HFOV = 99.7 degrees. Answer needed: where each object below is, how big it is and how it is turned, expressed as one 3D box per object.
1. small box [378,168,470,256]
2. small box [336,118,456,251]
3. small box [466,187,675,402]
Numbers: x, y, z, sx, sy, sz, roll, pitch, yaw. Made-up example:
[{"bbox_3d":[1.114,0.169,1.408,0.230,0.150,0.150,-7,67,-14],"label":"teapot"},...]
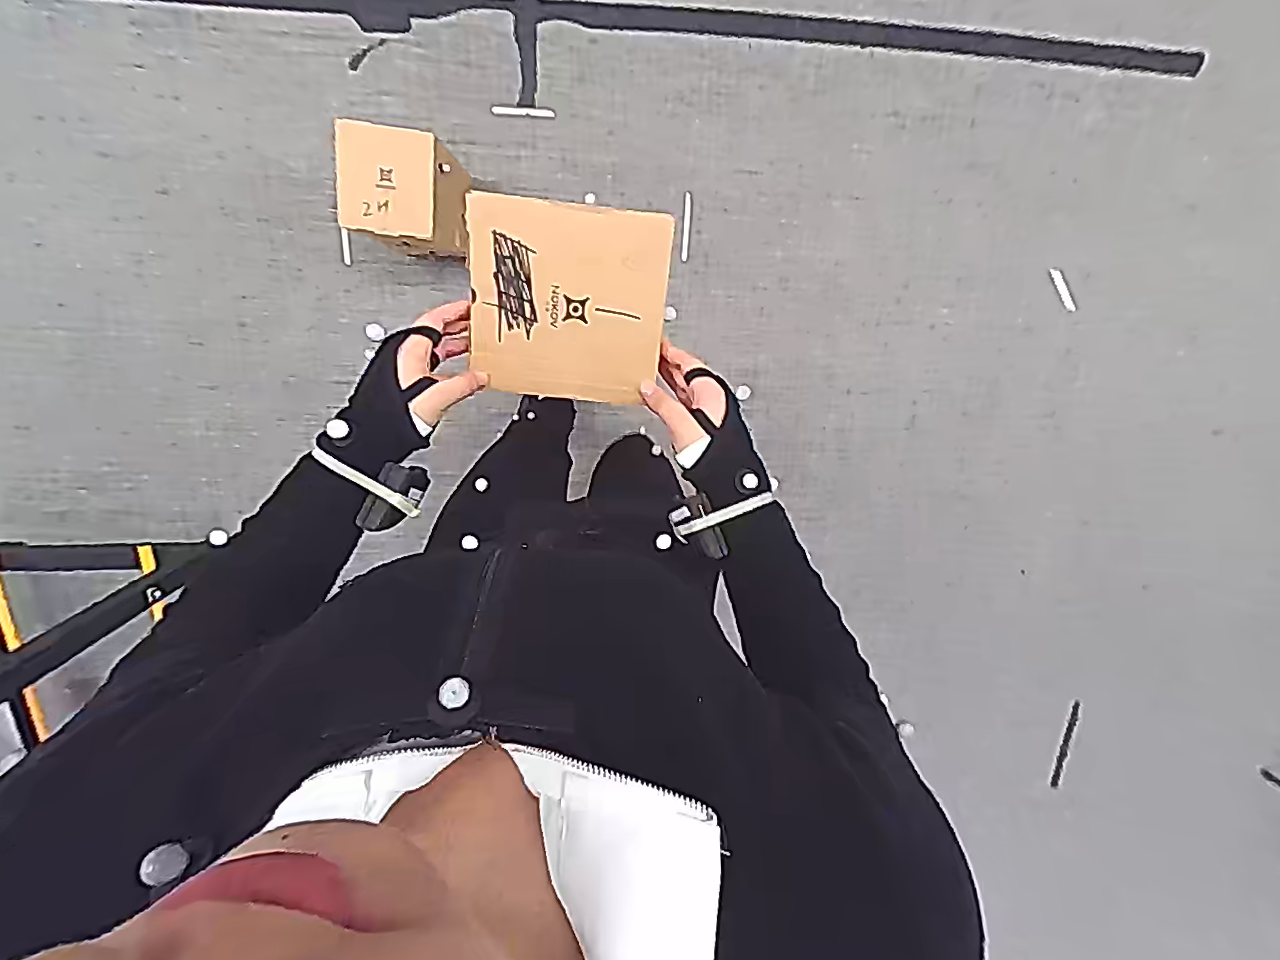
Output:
[{"bbox_3d":[-0.468,-0.591,1.182,0.168,0.176,0.179,0,107,-5],"label":"small box"},{"bbox_3d":[-0.453,-0.546,1.023,0.168,0.176,0.179,6,106,-6],"label":"small box"},{"bbox_3d":[-0.065,-0.187,0.552,0.179,0.176,0.168,6,112,-2],"label":"small box"}]
